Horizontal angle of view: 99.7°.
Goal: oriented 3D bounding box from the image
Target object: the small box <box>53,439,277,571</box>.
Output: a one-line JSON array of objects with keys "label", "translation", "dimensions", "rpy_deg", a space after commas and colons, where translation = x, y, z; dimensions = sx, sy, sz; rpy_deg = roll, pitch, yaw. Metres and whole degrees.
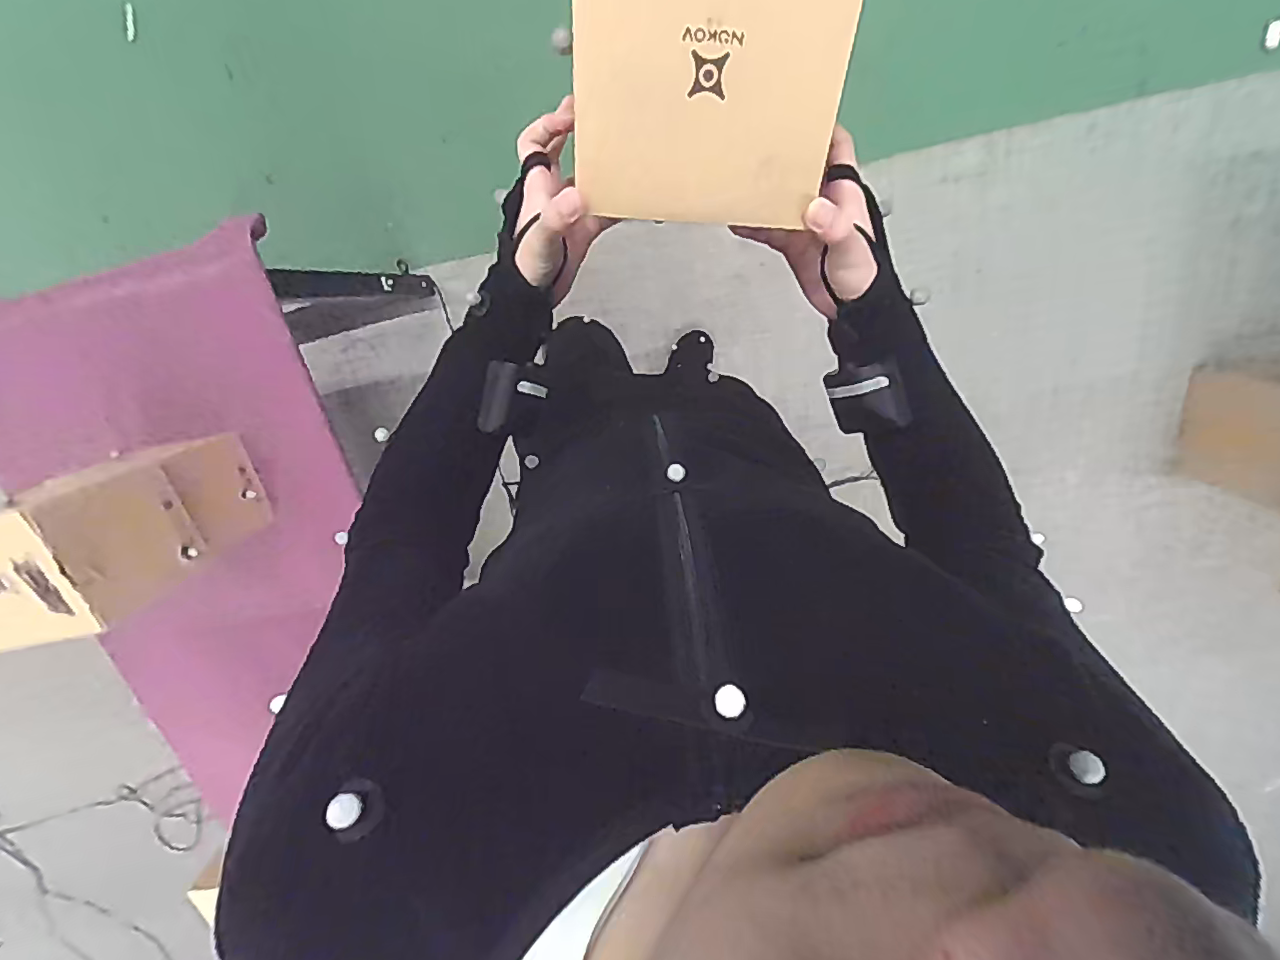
[{"label": "small box", "translation": [-0.737, 0.043, 0.862], "dimensions": [0.179, 0.176, 0.168], "rpy_deg": [-9, 110, 7]}]

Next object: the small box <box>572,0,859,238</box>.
[{"label": "small box", "translation": [0.044, -0.293, 0.394], "dimensions": [0.168, 0.176, 0.179], "rpy_deg": [4, 125, -1]}]

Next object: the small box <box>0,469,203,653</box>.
[{"label": "small box", "translation": [-0.728, 0.097, 0.706], "dimensions": [0.179, 0.176, 0.168], "rpy_deg": [-11, 110, 9]}]

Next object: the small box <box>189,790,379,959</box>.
[{"label": "small box", "translation": [-0.558, 0.639, 0.883], "dimensions": [0.179, 0.176, 0.168], "rpy_deg": [-12, 107, 7]}]
